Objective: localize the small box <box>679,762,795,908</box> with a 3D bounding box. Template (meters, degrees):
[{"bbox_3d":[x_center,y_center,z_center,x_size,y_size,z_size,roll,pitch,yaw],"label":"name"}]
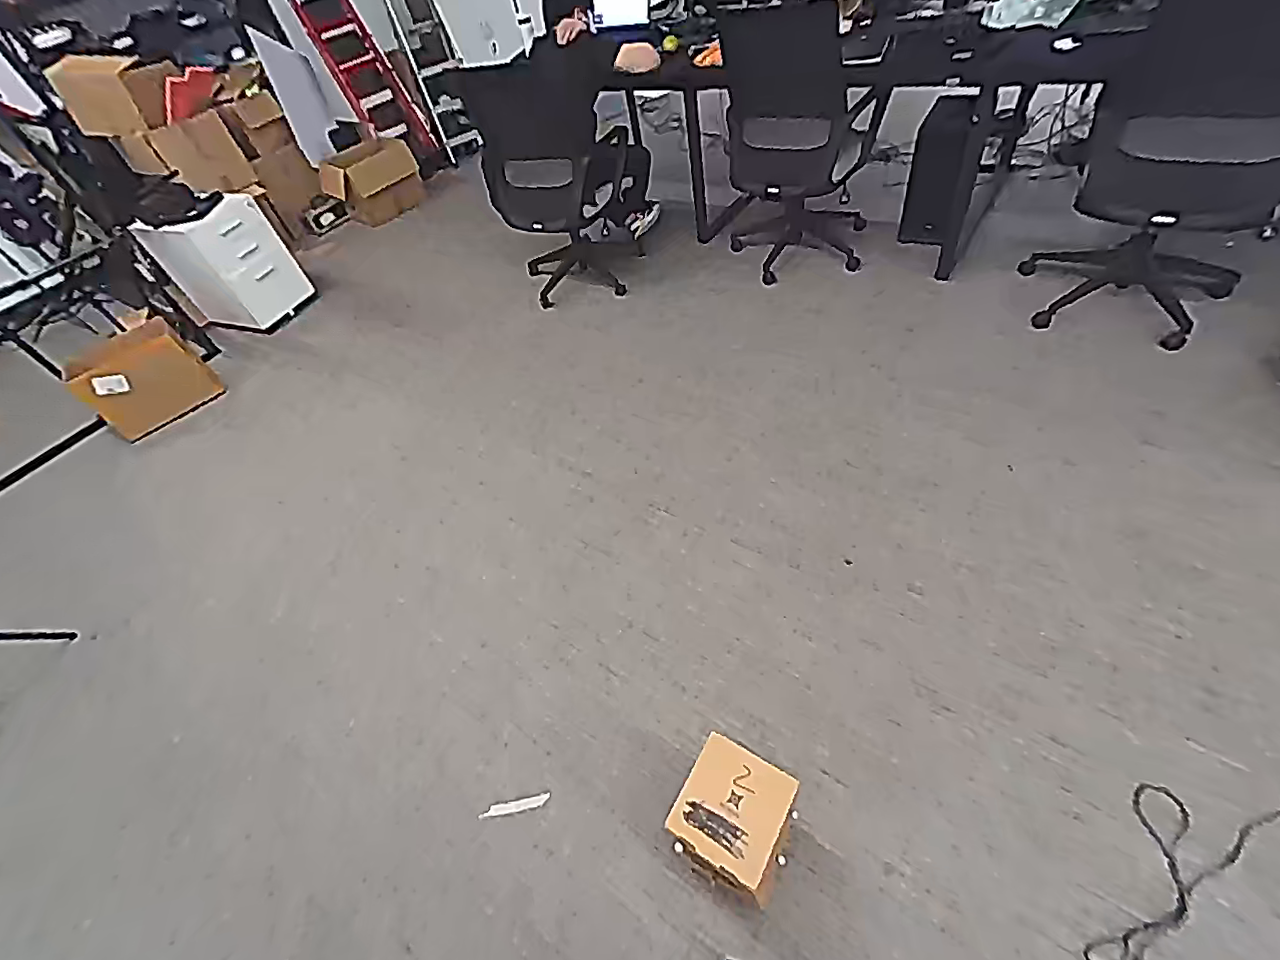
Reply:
[{"bbox_3d":[0.193,0.695,1.059,0.168,0.176,0.179,16,55,26],"label":"small box"}]
